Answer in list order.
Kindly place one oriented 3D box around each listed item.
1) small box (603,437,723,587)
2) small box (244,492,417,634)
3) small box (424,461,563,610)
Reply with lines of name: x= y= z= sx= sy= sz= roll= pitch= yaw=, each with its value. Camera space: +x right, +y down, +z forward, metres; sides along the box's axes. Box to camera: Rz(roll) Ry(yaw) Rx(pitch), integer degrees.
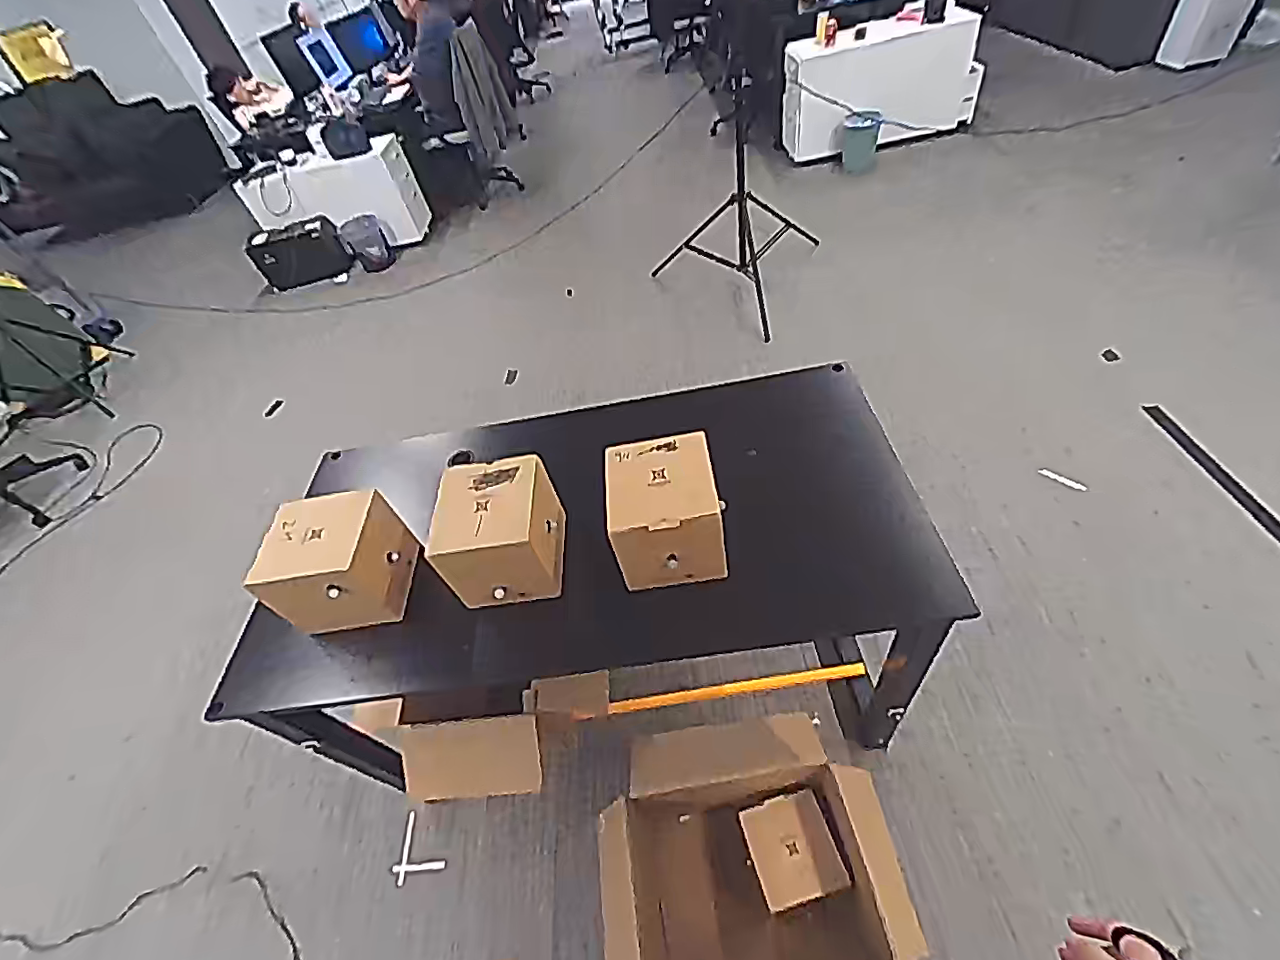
small box: x=0.039 y=0.060 z=0.882 sx=0.168 sy=0.176 sz=0.179 roll=-9 pitch=48 yaw=5
small box: x=-0.513 y=0.146 z=0.930 sx=0.179 sy=0.176 sz=0.168 roll=-10 pitch=47 yaw=4
small box: x=-0.233 y=0.095 z=0.913 sx=0.168 sy=0.176 sz=0.179 roll=-9 pitch=48 yaw=6
